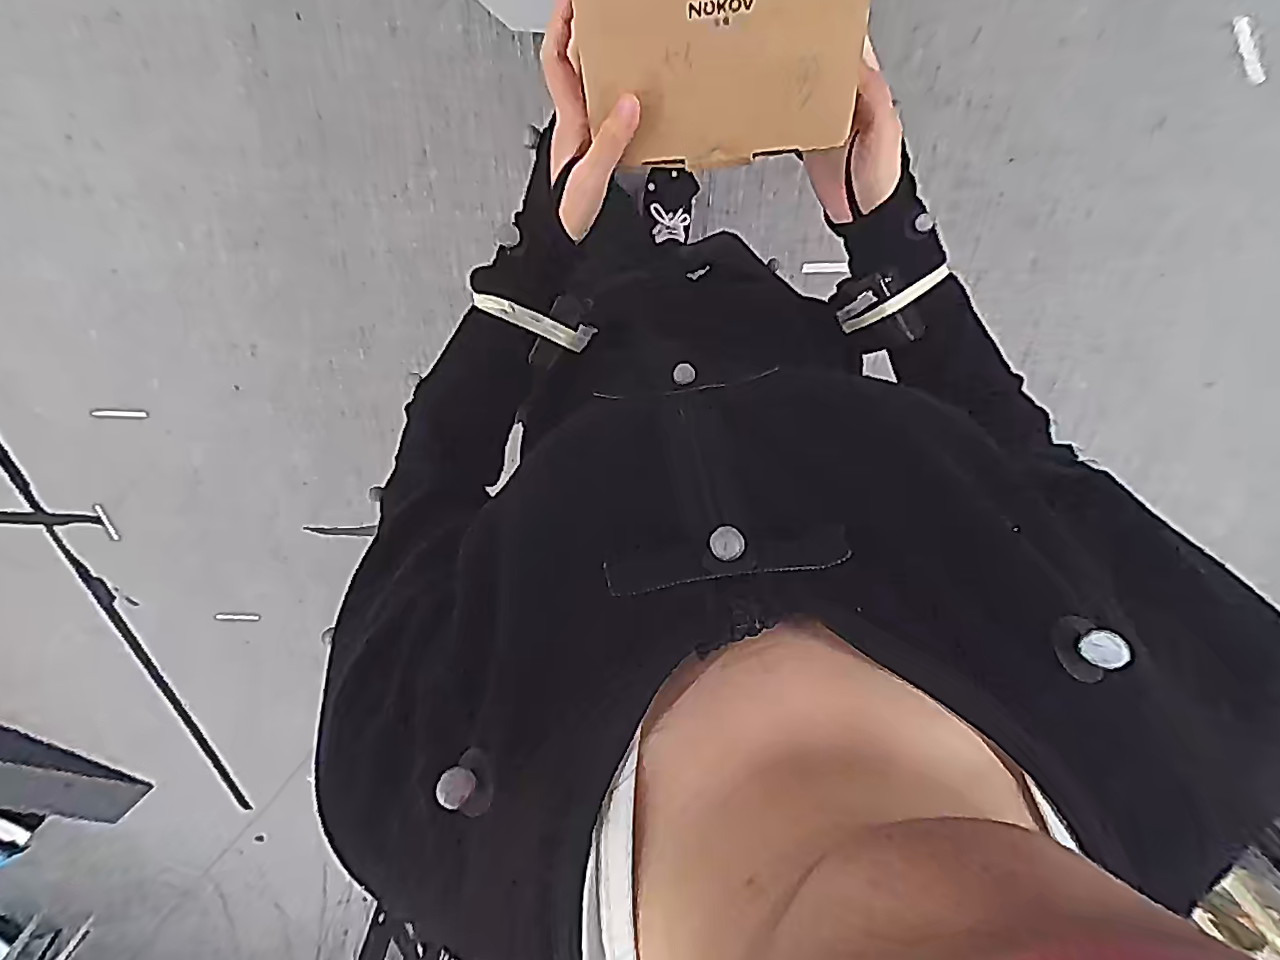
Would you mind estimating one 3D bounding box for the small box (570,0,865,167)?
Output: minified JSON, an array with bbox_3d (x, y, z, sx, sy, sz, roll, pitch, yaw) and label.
[{"bbox_3d":[0.045,-0.330,0.348,0.168,0.176,0.179,-3,137,5],"label":"small box"}]
